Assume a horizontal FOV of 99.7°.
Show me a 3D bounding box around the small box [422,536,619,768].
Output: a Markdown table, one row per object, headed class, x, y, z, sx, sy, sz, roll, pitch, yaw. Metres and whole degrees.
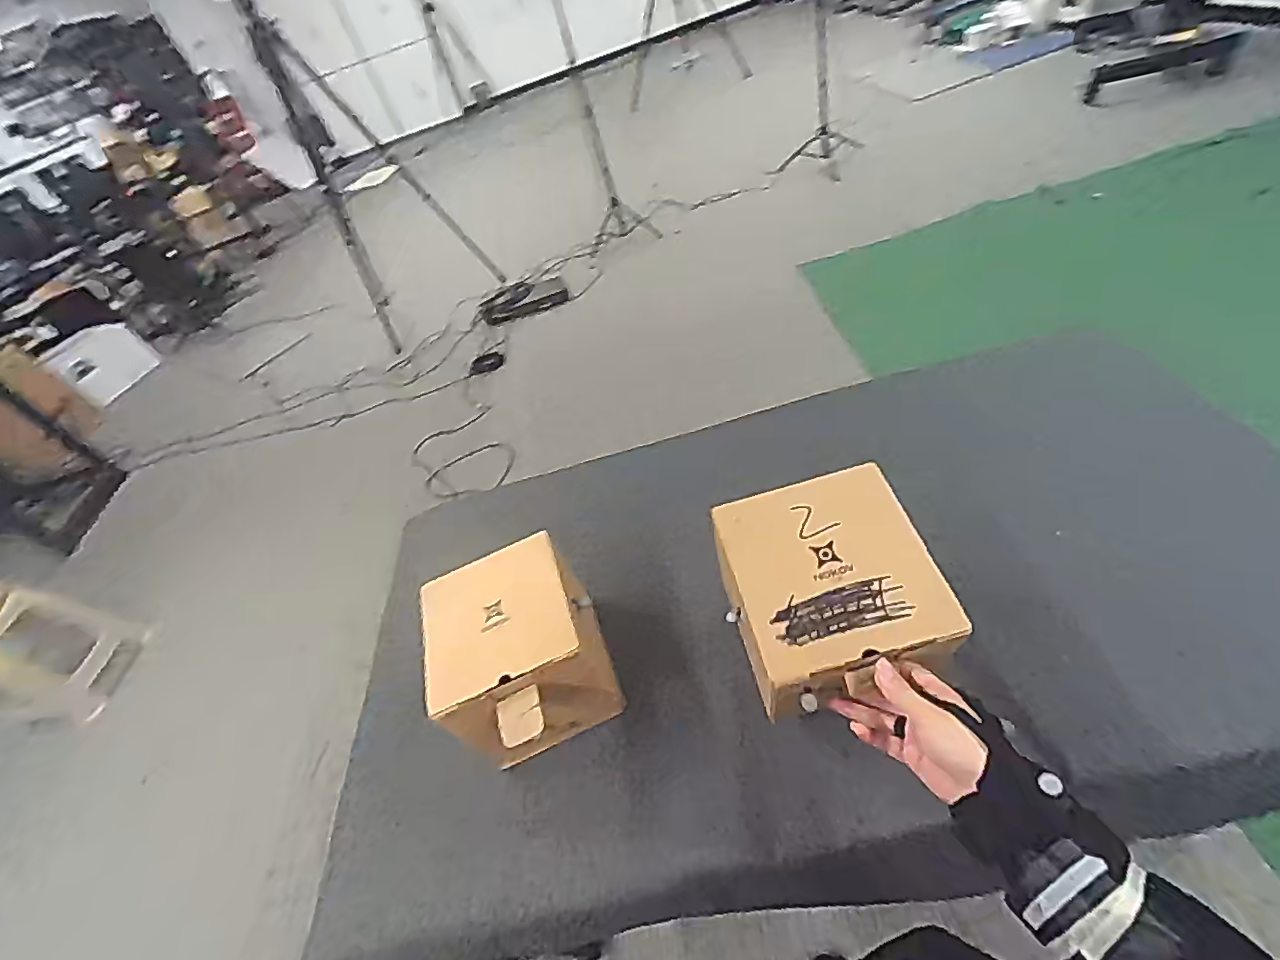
| class | x | y | z | sx | sy | sz | roll | pitch | yaw |
| --- | --- | --- | --- | --- | --- | --- | --- | --- | --- |
| small box | -0.141 | 0.206 | 0.650 | 0.168 | 0.176 | 0.179 | -24 | 45 | -4 |
